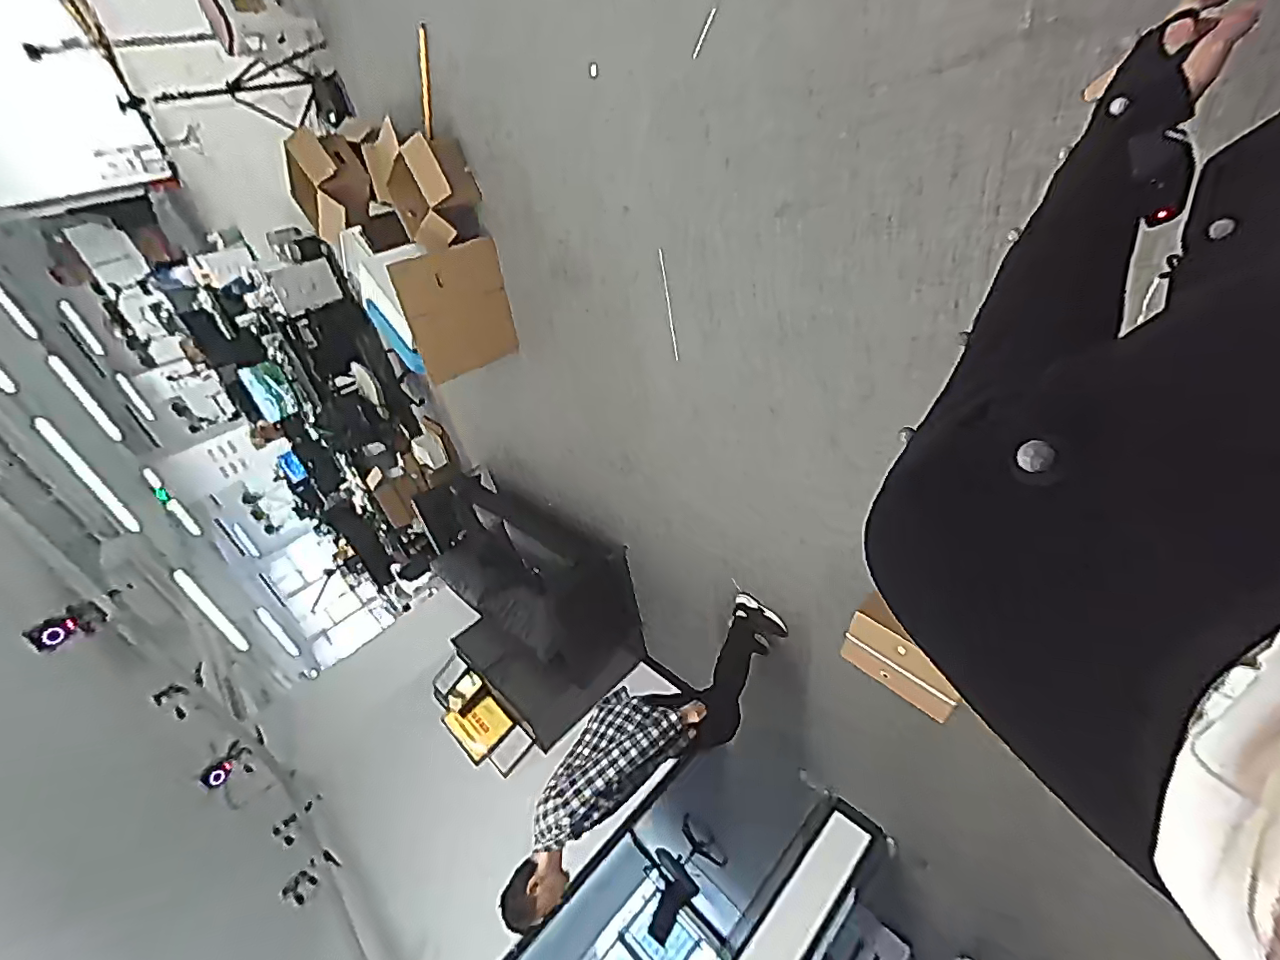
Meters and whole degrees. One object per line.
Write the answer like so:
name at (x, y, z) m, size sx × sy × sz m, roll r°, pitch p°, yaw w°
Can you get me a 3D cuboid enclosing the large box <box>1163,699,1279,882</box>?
large box at (1.682, 0.805, 1.378) m, size 0.320 × 0.320 × 0.408 m, roll 57°, pitch 149°, yaw -7°
